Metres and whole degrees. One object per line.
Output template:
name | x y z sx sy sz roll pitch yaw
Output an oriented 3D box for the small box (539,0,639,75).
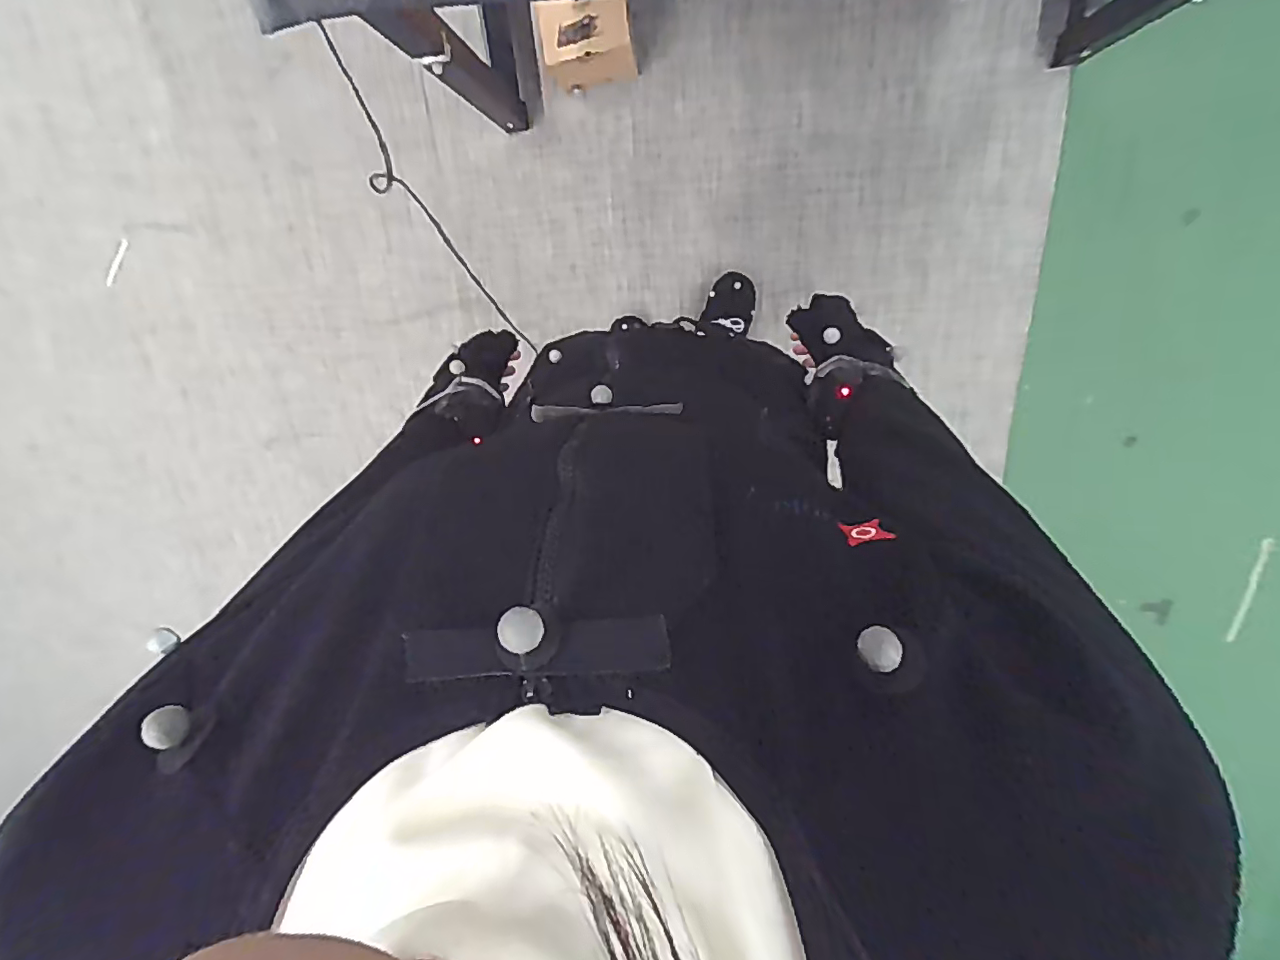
small box | -0.097 -0.915 1.046 0.168 0.176 0.179 -5 110 7
